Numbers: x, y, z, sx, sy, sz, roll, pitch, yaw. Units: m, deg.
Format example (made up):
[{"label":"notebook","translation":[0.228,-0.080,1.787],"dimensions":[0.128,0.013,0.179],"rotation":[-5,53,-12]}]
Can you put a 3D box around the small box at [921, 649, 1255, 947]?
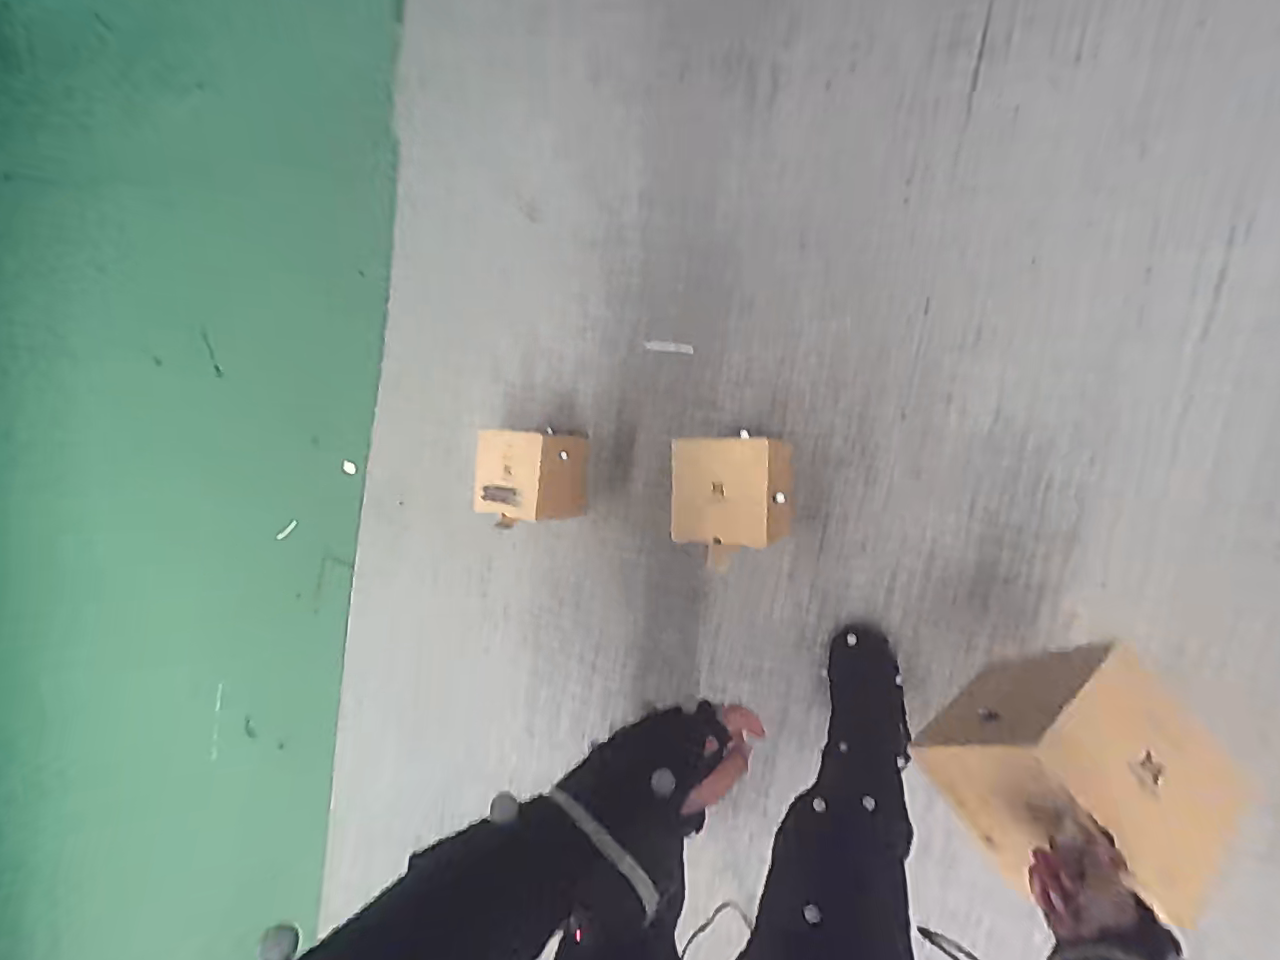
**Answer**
[{"label":"small box","translation":[0.420,0.296,0.538],"dimensions":[0.168,0.179,0.176],"rotation":[58,153,14]}]

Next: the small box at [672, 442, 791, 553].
[{"label":"small box","translation":[0.165,0.026,0.950],"dimensions":[0.168,0.176,0.179],"rotation":[1,92,27]}]
